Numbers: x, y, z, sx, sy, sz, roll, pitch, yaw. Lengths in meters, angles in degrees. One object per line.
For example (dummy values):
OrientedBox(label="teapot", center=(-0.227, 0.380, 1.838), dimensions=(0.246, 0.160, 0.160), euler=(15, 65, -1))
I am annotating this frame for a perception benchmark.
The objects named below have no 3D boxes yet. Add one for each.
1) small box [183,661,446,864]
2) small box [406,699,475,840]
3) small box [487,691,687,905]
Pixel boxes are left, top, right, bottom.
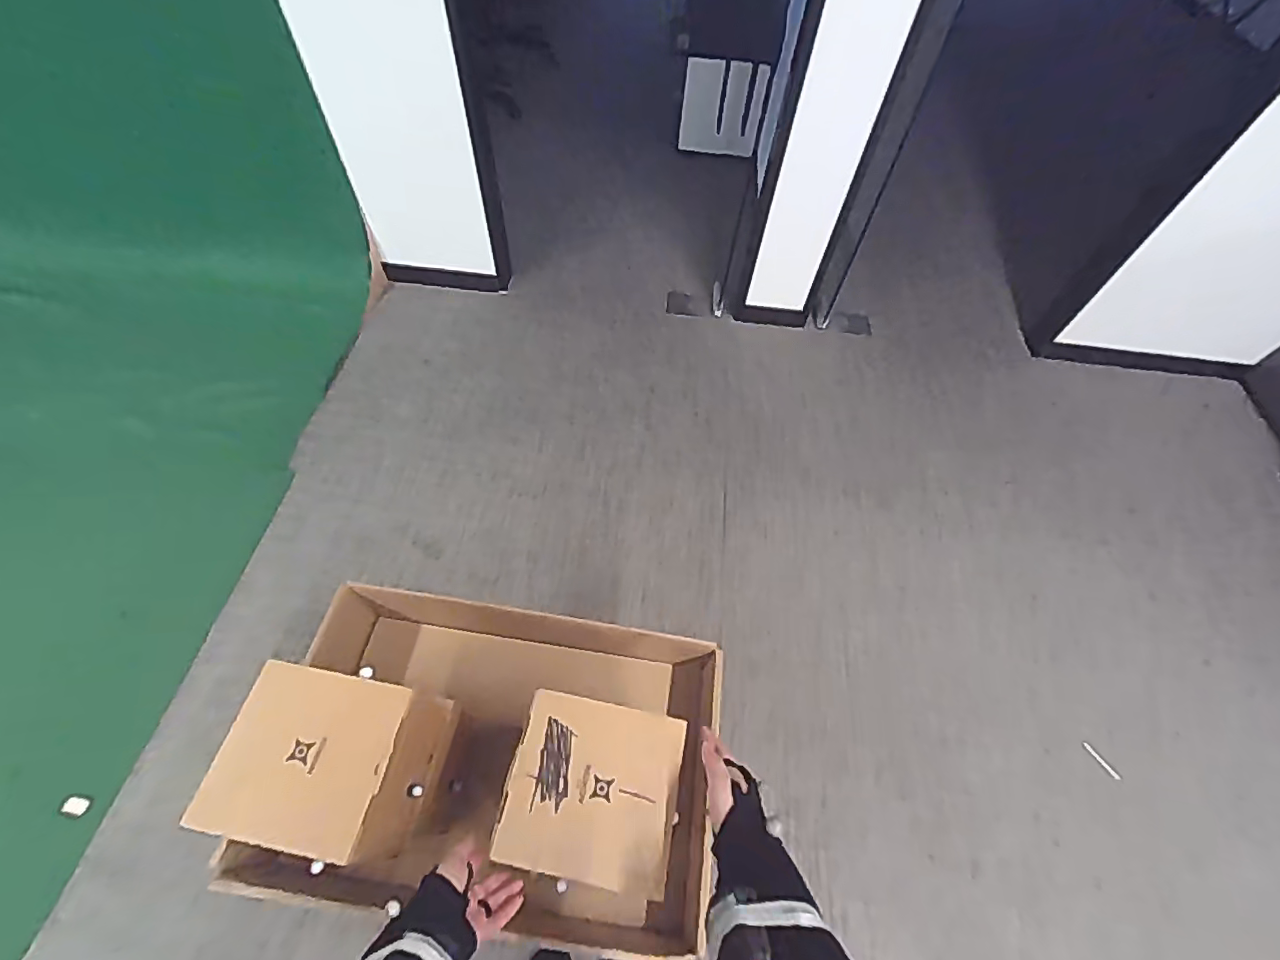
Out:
OrientedBox(label="small box", center=(-0.355, 0.331, 0.633), dimensions=(0.179, 0.176, 0.168), euler=(11, 57, 2))
OrientedBox(label="small box", center=(-0.359, 0.407, 0.777), dimensions=(0.179, 0.176, 0.168), euler=(11, 57, 2))
OrientedBox(label="small box", center=(-0.053, 0.365, 0.626), dimensions=(0.179, 0.176, 0.168), euler=(12, 57, 3))
